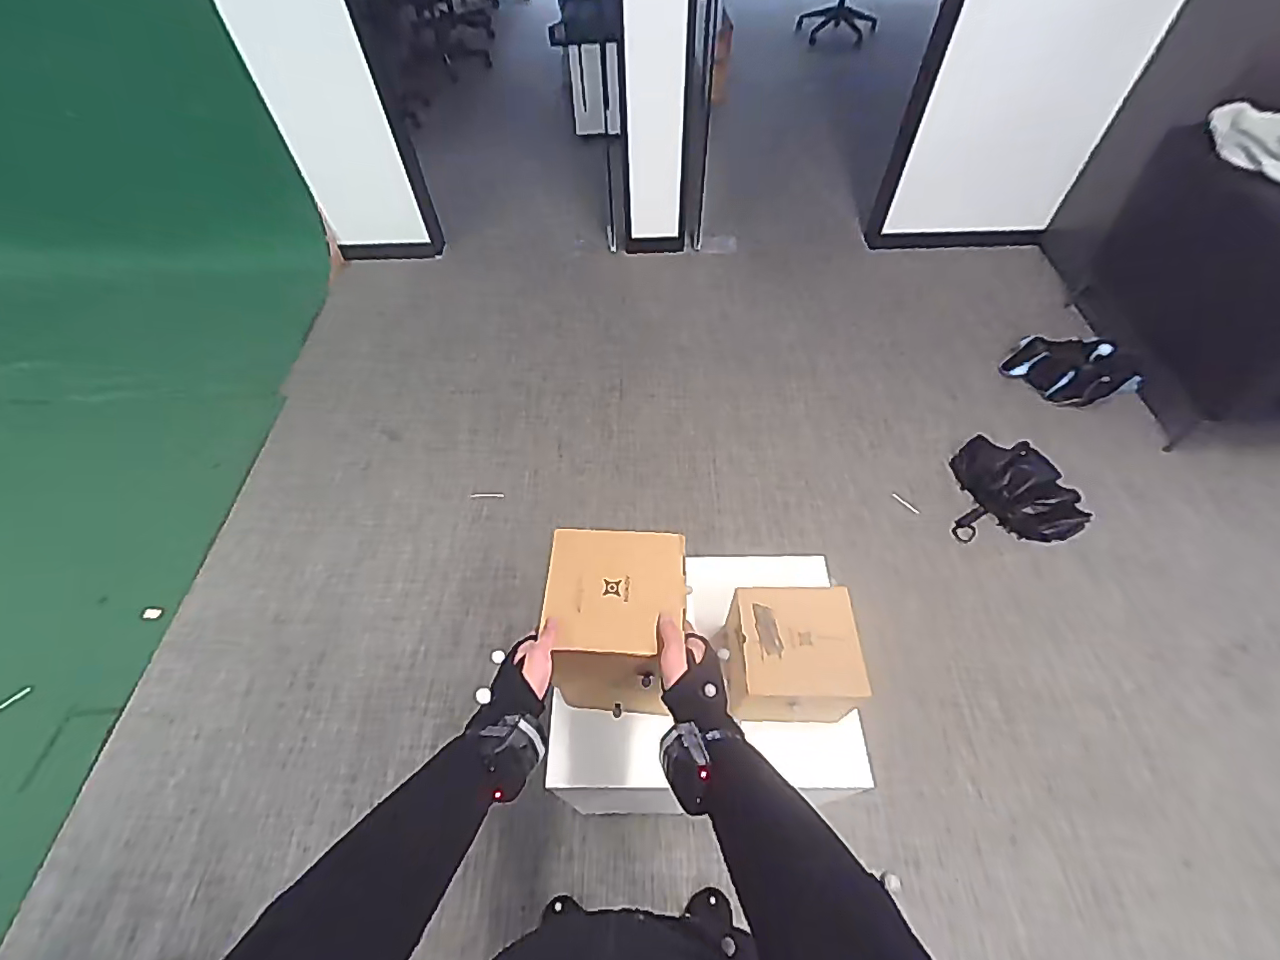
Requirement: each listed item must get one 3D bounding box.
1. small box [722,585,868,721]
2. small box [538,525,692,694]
[{"bbox_3d":[0.228,0.278,0.857,0.179,0.176,0.168,1,54,-2],"label":"small box"},{"bbox_3d":[-0.029,0.177,0.719,0.179,0.176,0.168,2,53,-1],"label":"small box"}]
